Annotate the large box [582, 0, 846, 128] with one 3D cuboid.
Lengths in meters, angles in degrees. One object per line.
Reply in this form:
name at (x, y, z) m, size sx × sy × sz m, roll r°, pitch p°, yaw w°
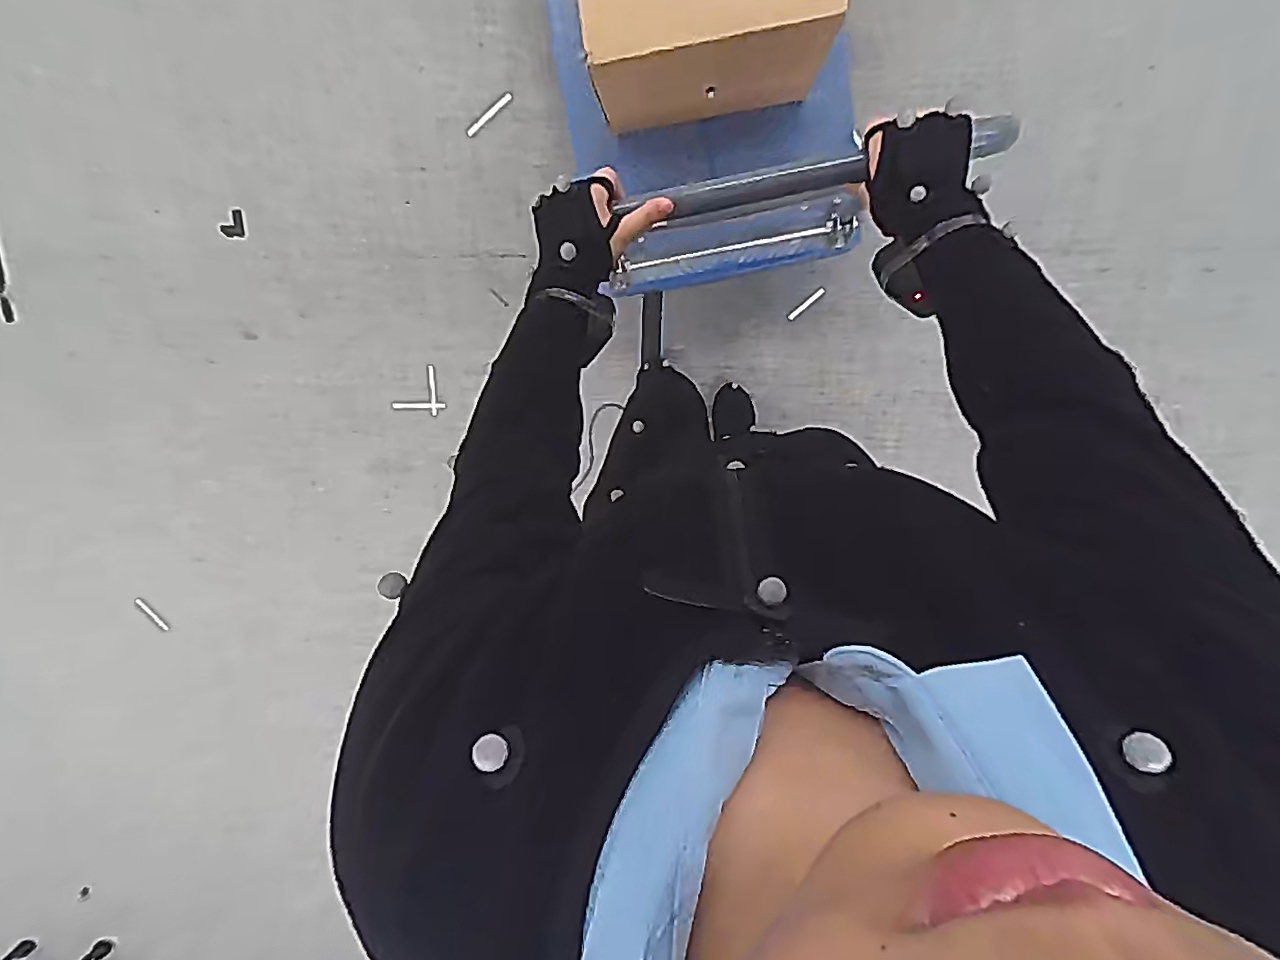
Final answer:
large box at (0.112, -0.877, 0.951) m, size 0.408 × 0.320 × 0.320 m, roll -6°, pitch 103°, yaw 8°
